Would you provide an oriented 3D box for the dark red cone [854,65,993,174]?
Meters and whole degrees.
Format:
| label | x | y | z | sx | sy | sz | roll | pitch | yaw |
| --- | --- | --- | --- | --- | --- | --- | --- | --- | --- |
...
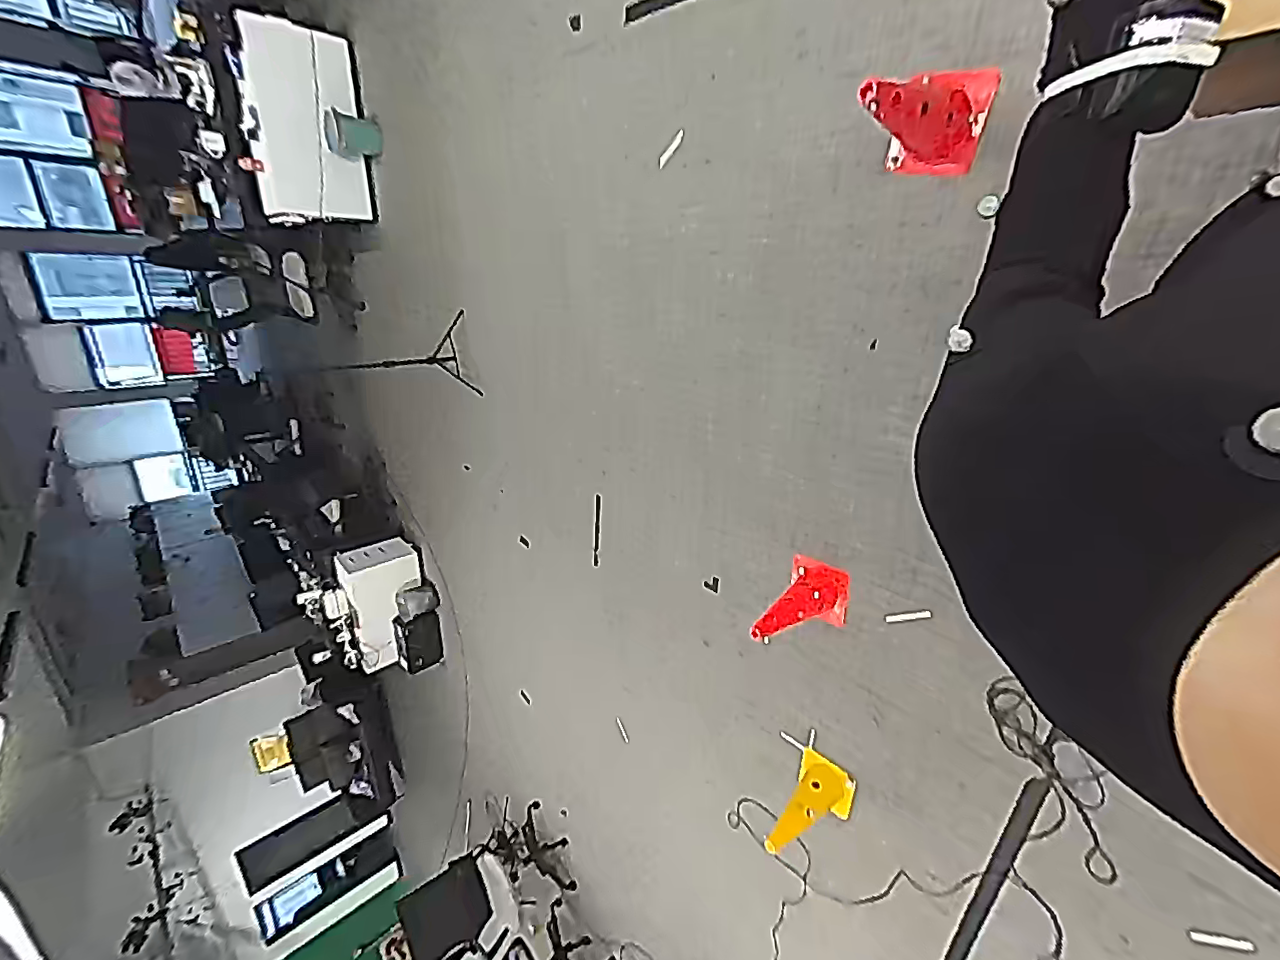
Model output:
| label | x | y | z | sx | sy | sz | roll | pitch | yaw |
| --- | --- | --- | --- | --- | --- | --- | --- | --- | --- |
| dark red cone | 0.544 | -0.769 | 1.113 | 0.201 | 0.394 | 0.202 | 30 | 124 | 38 |

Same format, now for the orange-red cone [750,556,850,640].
| label | x | y | z | sx | sy | sz | roll | pitch | yaw |
| --- | --- | --- | --- | --- | --- | --- | --- | --- | --- |
| orange-red cone | 0.463 | 0.405 | 1.668 | 0.198 | 0.360 | 0.199 | 22 | 120 | 44 |

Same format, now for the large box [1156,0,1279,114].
| label | x | y | z | sx | sy | sz | roll | pitch | yaw |
| --- | --- | --- | --- | --- | --- | --- | --- | --- | --- |
| large box | 0.581 | -0.434 | 0.273 | 0.408 | 0.320 | 0.320 | 18 | 119 | 44 |
